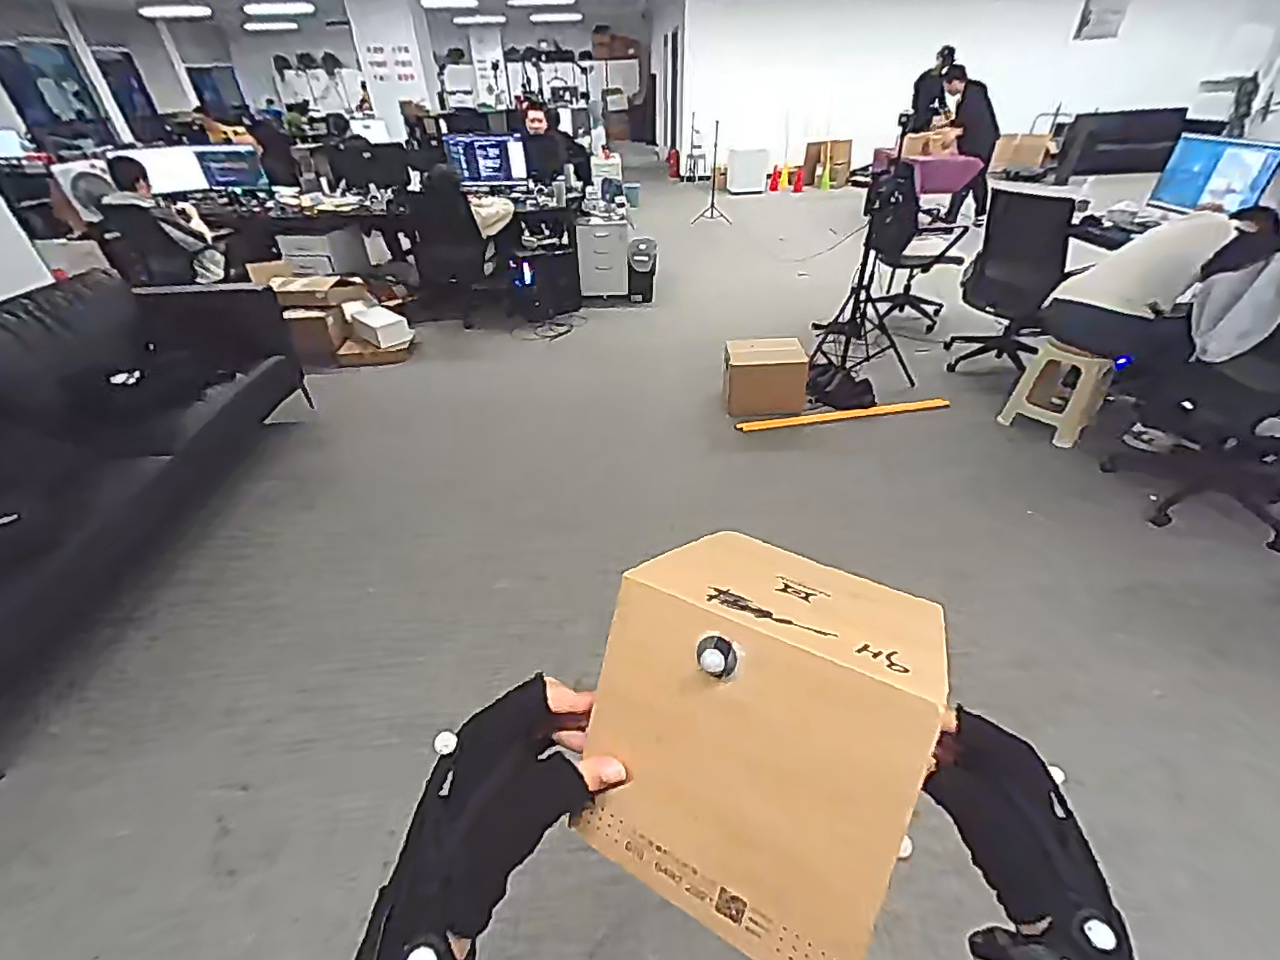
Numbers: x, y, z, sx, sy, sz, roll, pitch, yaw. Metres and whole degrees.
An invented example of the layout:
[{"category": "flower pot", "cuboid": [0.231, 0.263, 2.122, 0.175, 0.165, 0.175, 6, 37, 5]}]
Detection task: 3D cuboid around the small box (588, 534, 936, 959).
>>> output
[{"category": "small box", "cuboid": [0.084, 0.149, 0.361, 0.168, 0.176, 0.179, 16, 10, 27]}]
